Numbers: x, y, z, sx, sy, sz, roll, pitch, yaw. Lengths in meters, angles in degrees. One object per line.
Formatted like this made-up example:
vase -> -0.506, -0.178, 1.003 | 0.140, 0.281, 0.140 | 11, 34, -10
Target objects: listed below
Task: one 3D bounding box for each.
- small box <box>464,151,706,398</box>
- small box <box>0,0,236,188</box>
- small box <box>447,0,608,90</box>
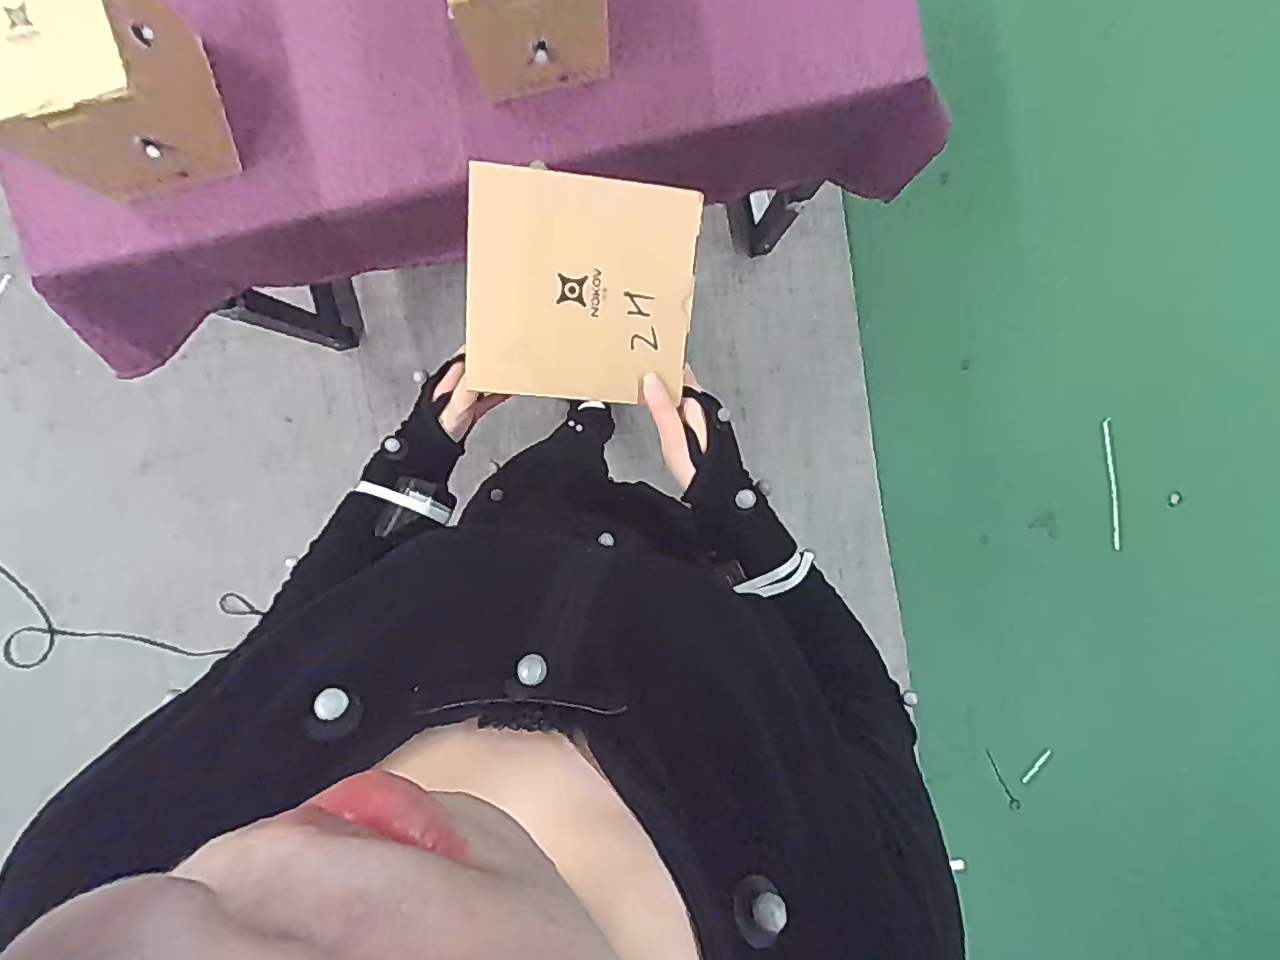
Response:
small box -> -0.053, -0.171, 0.495 | 0.179, 0.176, 0.168 | 4, 104, -8
small box -> -0.606, -0.456, 0.608 | 0.168, 0.176, 0.179 | -14, 94, -2
small box -> -0.133, -0.584, 0.616 | 0.168, 0.176, 0.179 | -13, 96, -1
